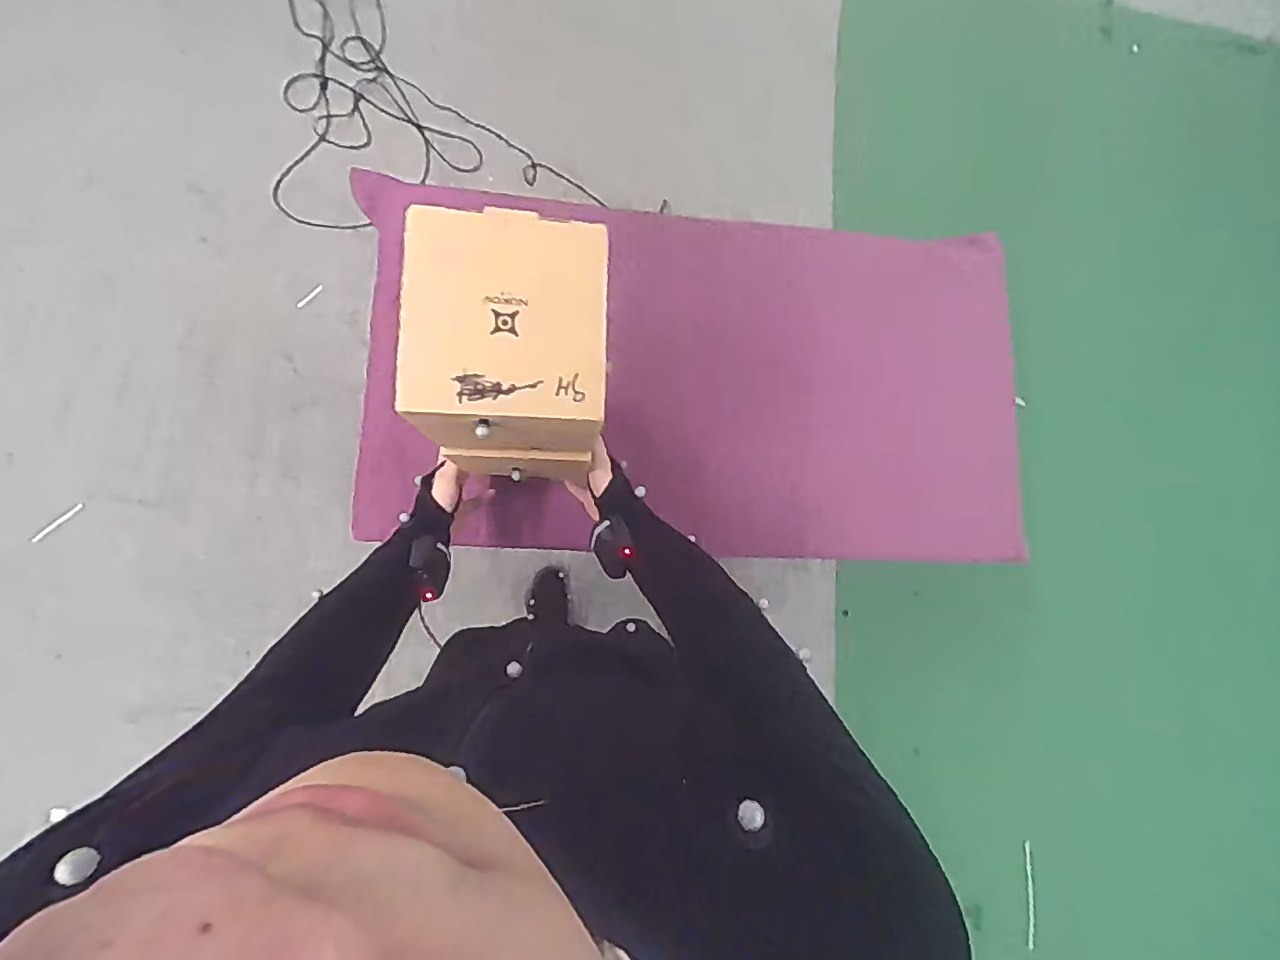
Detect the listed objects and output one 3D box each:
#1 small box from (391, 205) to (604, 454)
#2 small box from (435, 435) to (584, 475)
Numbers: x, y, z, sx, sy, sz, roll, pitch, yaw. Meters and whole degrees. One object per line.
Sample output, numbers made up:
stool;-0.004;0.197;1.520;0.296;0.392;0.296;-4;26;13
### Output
small box;-0.126;-0.129;0.525;0.168;0.176;0.179;2;83;-8
small box;-0.151;-0.102;0.685;0.168;0.176;0.179;3;83;-9
